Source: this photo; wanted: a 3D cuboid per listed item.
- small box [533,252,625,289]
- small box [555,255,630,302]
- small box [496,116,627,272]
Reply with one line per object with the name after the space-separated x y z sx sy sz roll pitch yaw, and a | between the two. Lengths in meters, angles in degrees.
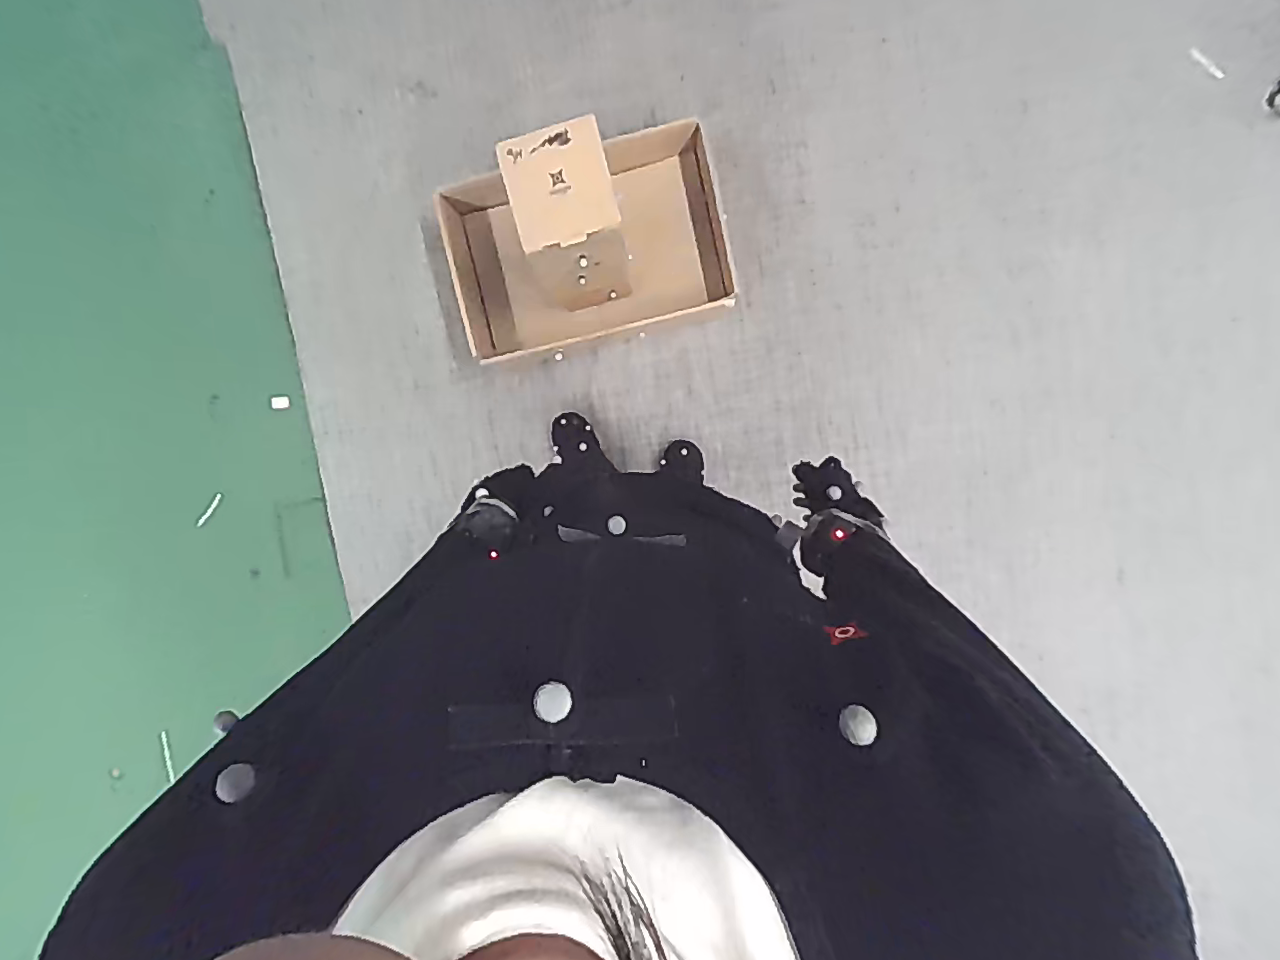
-0.130 -0.507 1.111 0.179 0.176 0.168 -11 95 5 | small box
-0.123 -0.527 1.257 0.168 0.176 0.179 -13 94 4 | small box
-0.127 -0.484 0.951 0.168 0.176 0.179 -16 95 6 | small box
